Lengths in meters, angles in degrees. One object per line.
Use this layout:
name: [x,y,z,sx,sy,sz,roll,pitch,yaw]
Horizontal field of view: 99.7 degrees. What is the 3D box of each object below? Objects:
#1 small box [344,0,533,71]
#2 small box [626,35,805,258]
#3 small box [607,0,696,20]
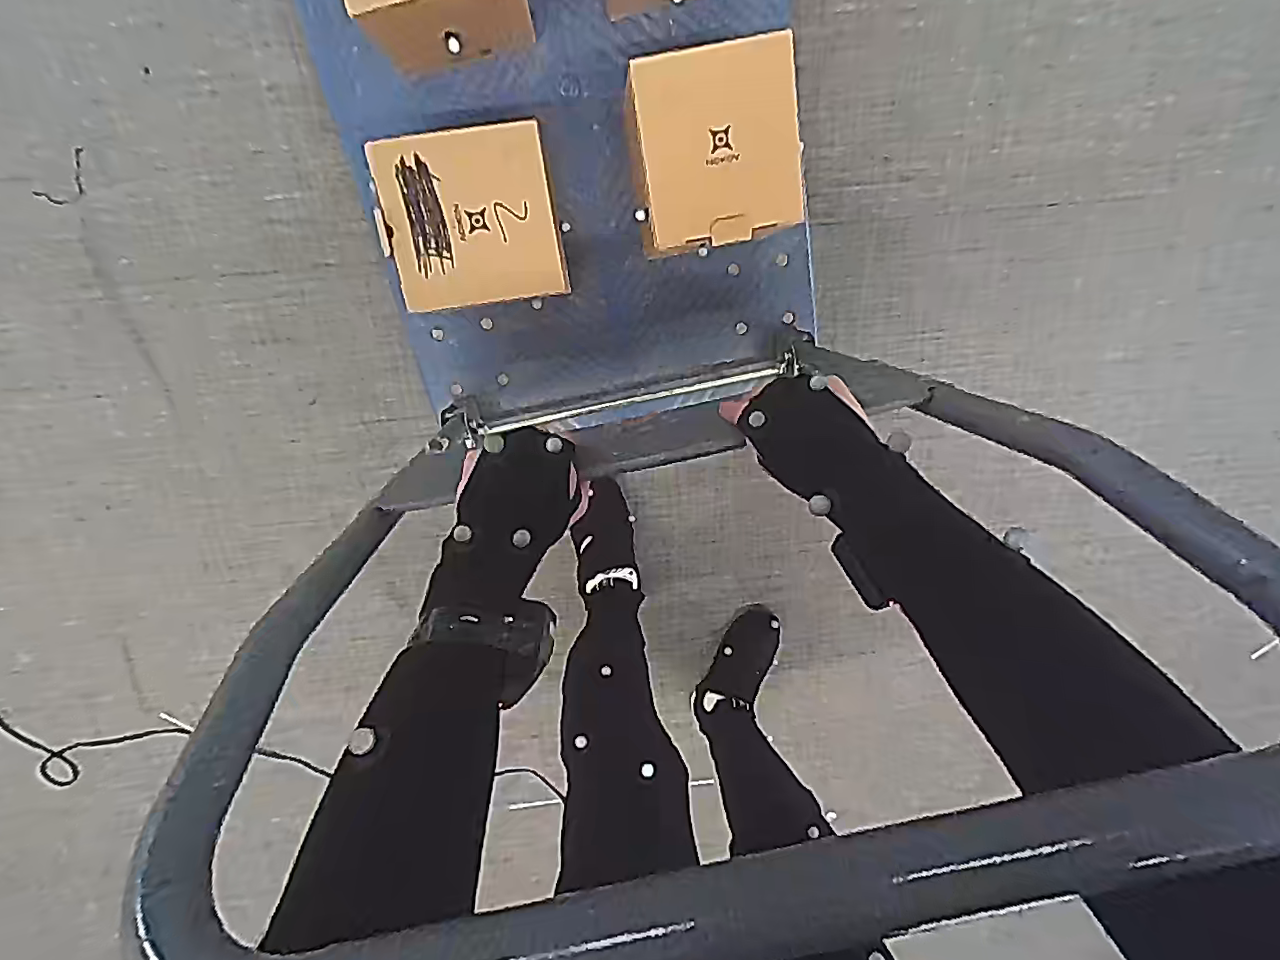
small box: [-0.216,-0.551,0.546,0.168,0.176,0.179,-15,110,0]
small box: [0.080,-0.369,0.632,0.168,0.176,0.179,-11,110,0]
small box: [0.028,-0.618,0.540,0.168,0.176,0.179,-15,111,2]
